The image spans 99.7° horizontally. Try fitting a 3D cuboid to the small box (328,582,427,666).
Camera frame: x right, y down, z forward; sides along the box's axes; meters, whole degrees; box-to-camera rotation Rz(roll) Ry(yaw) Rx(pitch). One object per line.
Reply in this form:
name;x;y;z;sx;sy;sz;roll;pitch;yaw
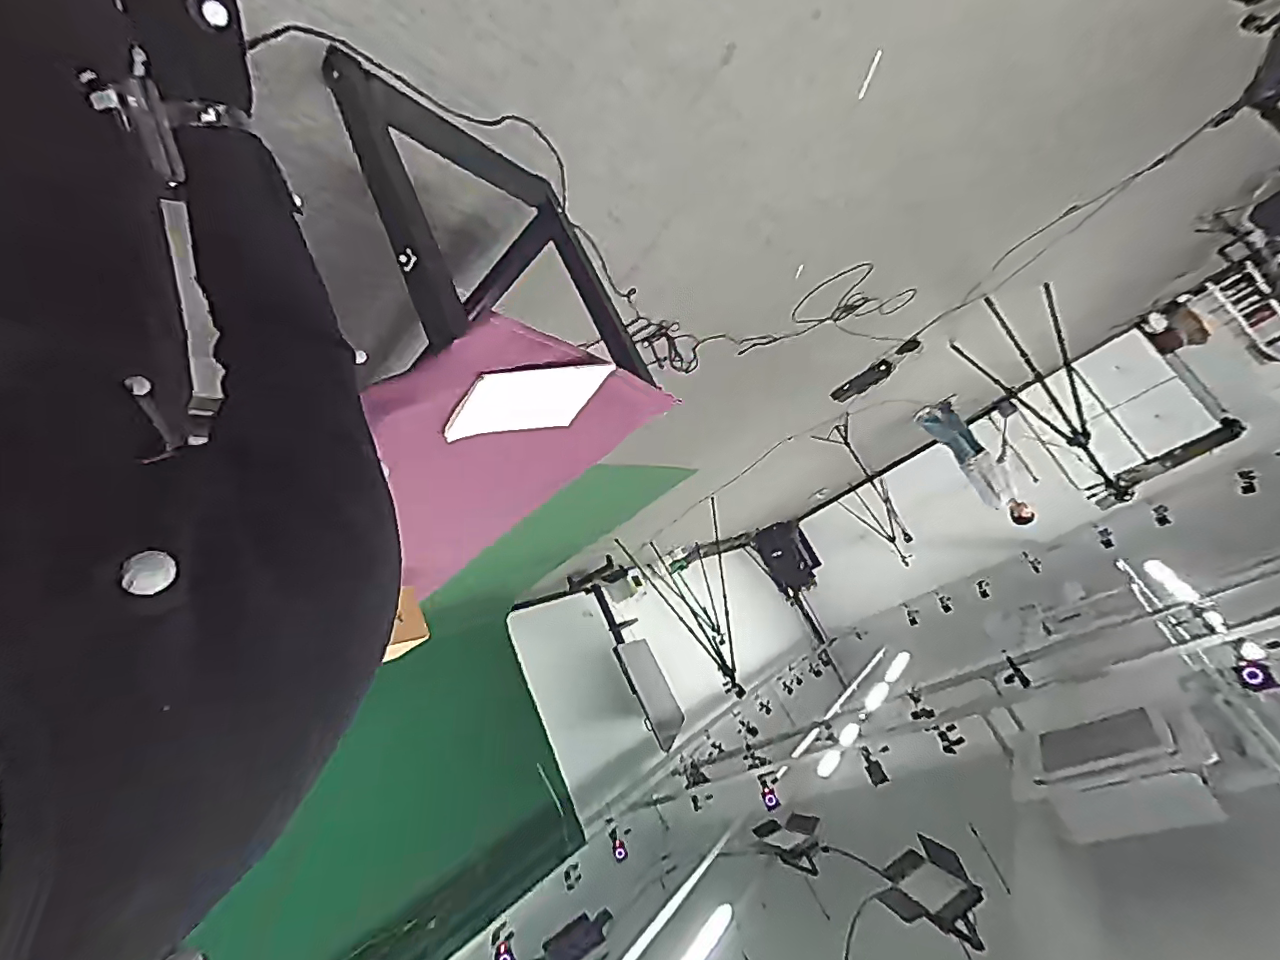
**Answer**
small box;-0.756;0.407;1.558;0.168;0.176;0.179;-34;162;24
